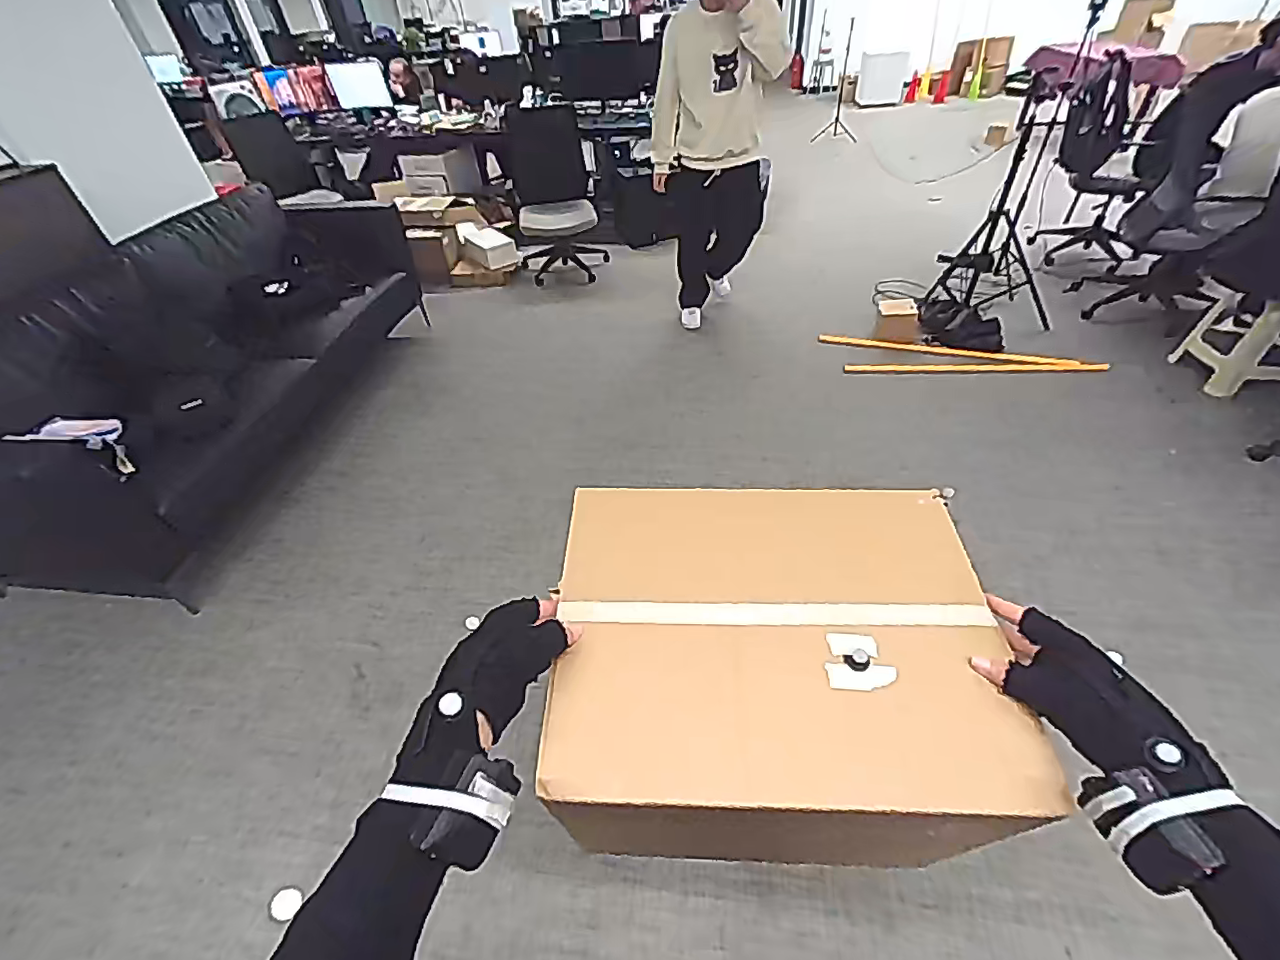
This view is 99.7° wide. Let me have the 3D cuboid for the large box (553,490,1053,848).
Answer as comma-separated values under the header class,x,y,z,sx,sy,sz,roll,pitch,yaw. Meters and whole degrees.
class,x,y,z,sx,sy,sz,roll,pitch,yaw
large box,0.130,0.226,0.633,0.408,0.320,0.320,1,50,2
